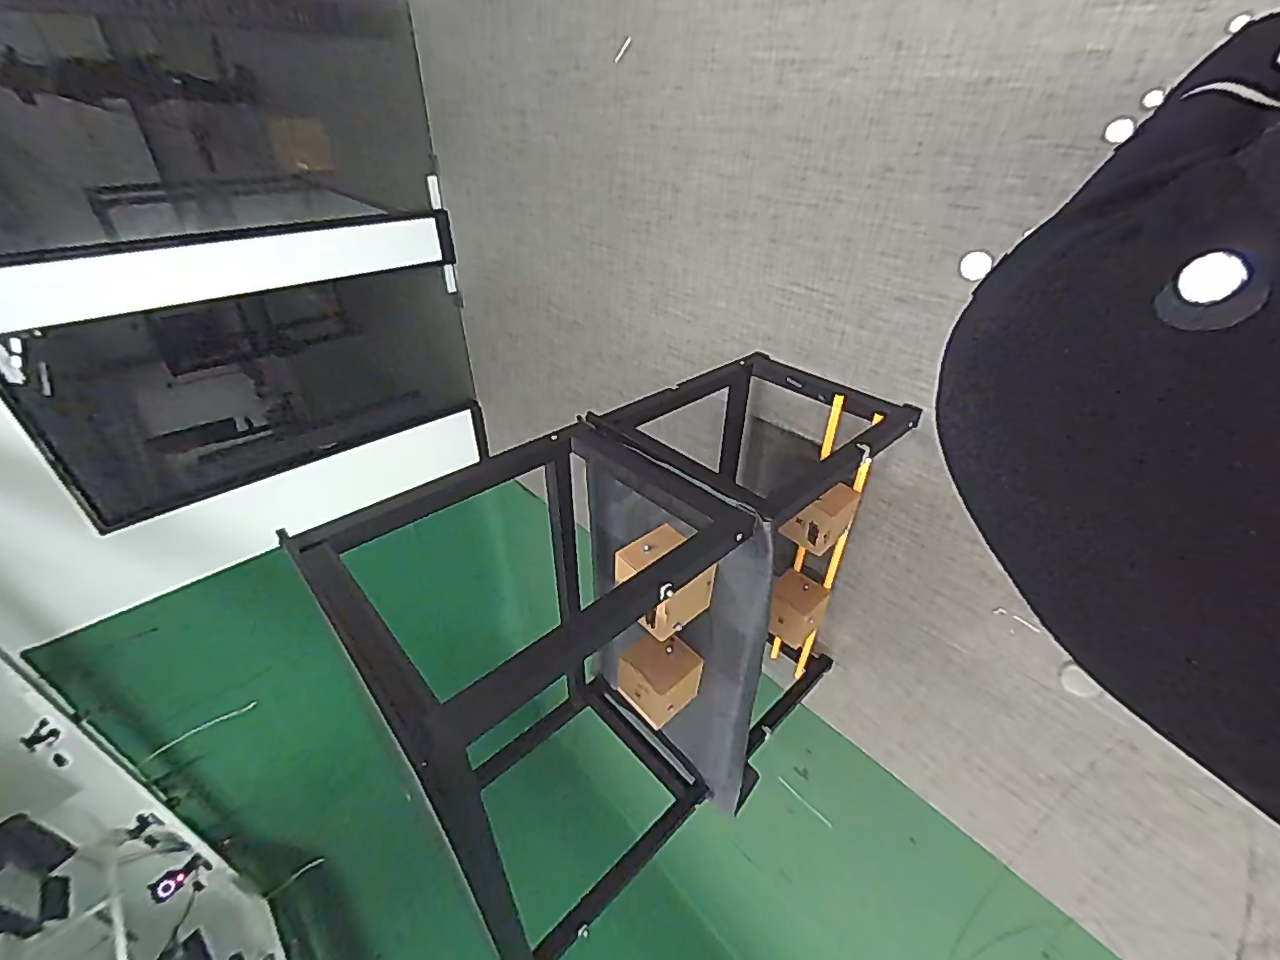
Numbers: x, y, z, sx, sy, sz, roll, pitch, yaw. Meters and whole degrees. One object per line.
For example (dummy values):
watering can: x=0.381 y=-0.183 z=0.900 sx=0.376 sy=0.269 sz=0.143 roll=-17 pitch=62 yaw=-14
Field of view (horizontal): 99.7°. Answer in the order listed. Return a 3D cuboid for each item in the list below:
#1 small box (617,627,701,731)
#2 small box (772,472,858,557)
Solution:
small box: x=0.053 y=0.552 z=1.513 sx=0.168 sy=0.176 sz=0.179 roll=35 pitch=137 yaw=34
small box: x=0.543 y=0.098 z=1.675 sx=0.179 sy=0.176 sz=0.168 roll=35 pitch=136 yaw=34
